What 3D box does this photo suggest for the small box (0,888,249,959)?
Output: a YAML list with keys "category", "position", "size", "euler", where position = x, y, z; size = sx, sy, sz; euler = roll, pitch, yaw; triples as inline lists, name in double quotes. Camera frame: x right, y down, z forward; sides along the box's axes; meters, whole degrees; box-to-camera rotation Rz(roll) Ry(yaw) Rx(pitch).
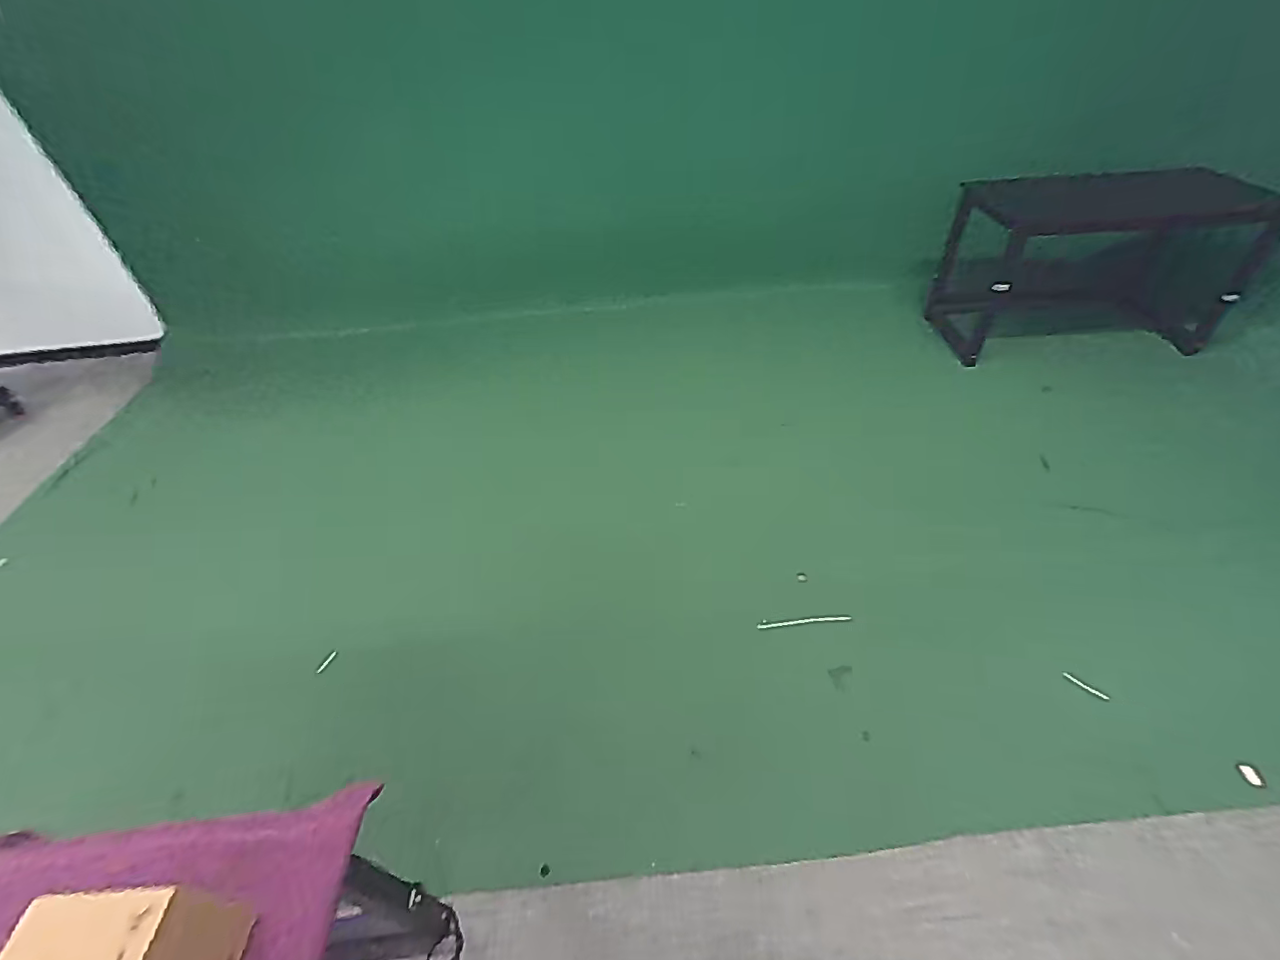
- category: "small box"
  position: [-0.610, 0.585, 0.618]
  size: [0.179, 0.176, 0.168]
  euler: [-5, 45, 2]
